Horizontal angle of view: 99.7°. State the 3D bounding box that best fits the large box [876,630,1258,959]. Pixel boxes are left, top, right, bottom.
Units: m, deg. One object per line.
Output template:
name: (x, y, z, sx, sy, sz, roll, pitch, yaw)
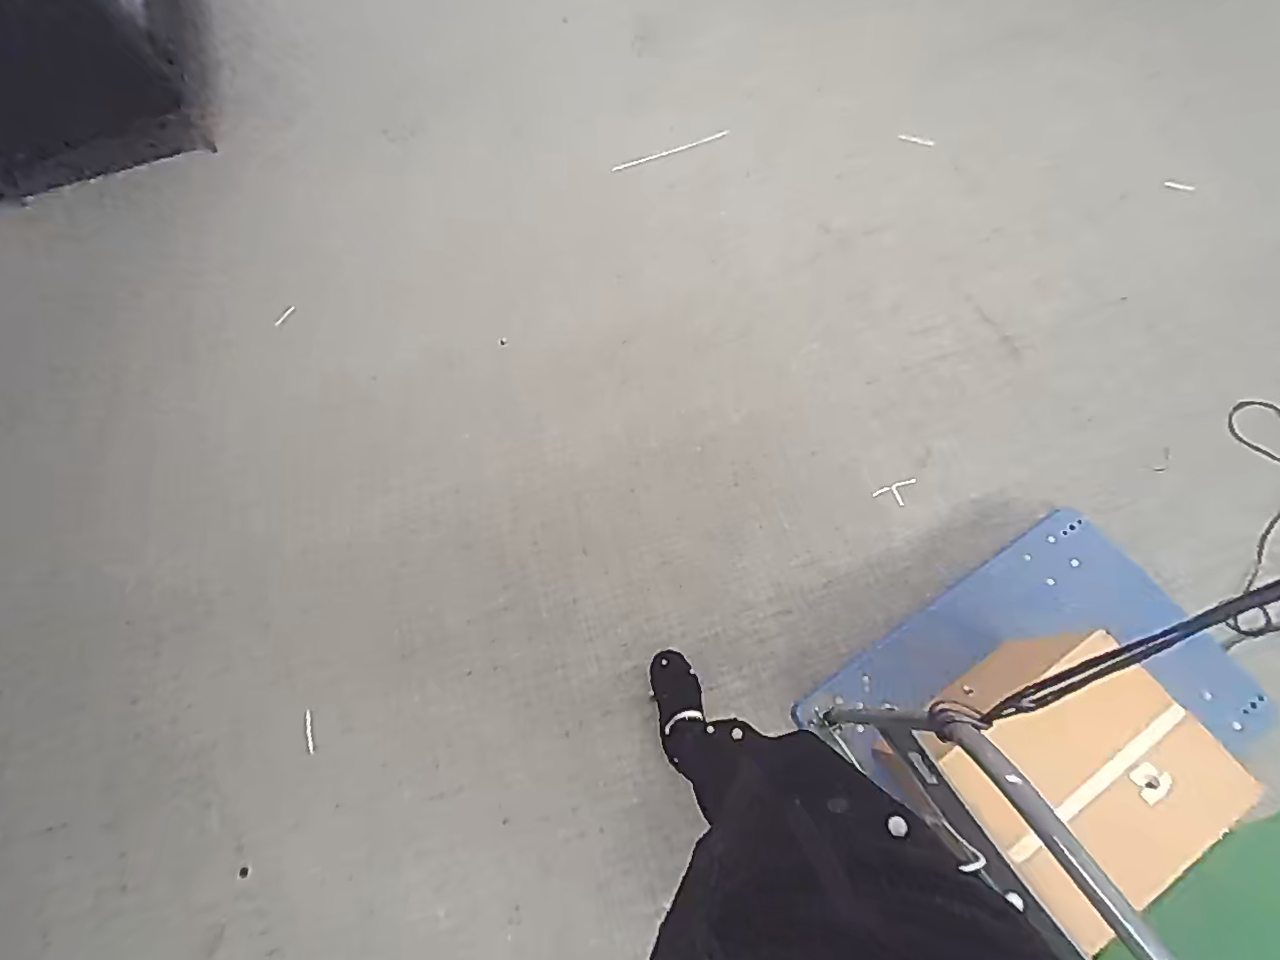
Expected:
large box: (0.737, 0.542, 1.008, 0.408, 0.320, 0.320, -33, 70, -9)
